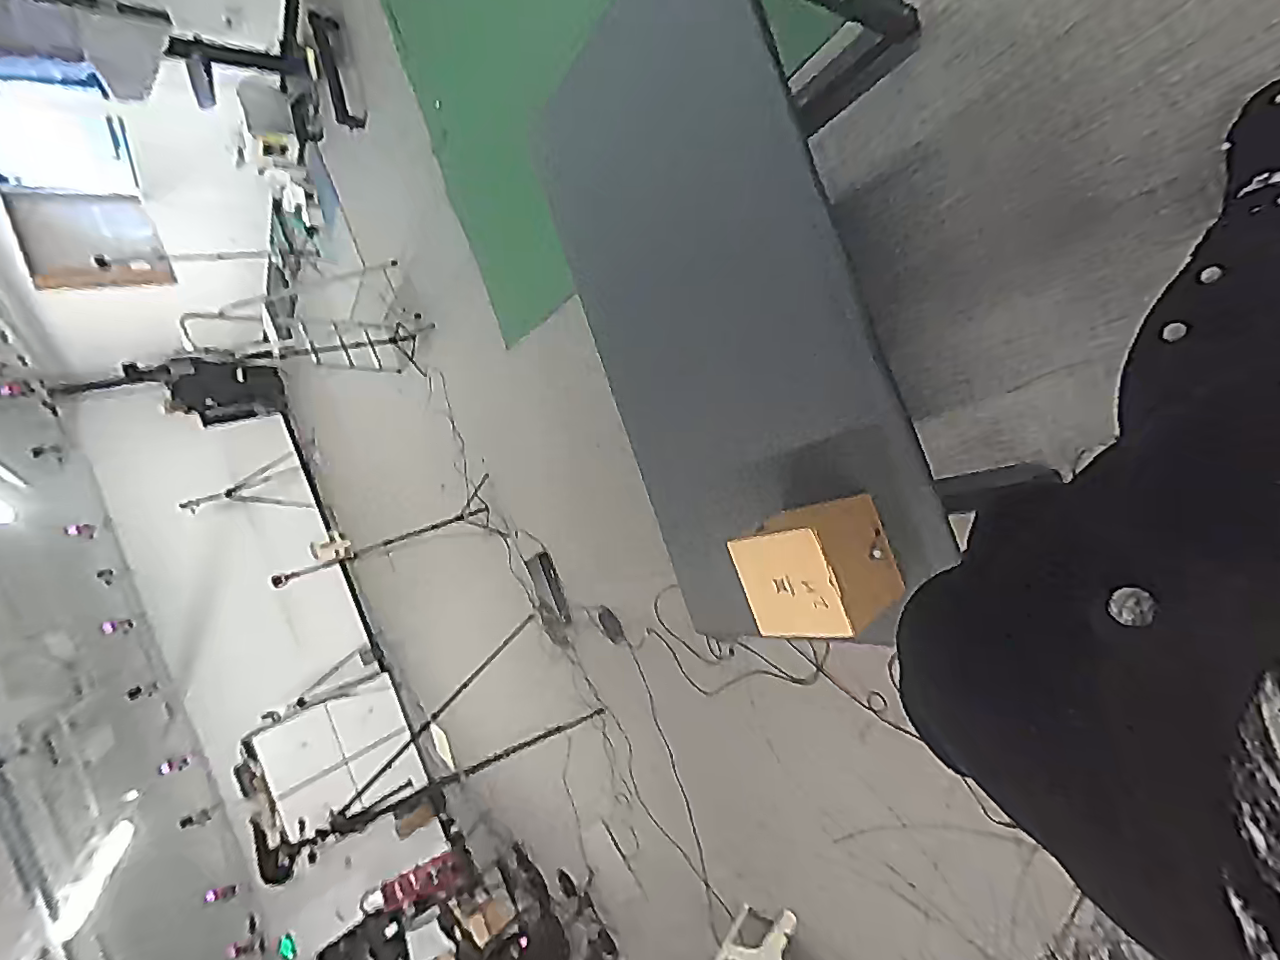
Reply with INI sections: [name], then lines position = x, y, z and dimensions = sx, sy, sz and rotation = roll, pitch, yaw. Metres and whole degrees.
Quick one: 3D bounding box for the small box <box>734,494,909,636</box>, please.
[small box]
position = 0.289, 0.135, 0.865
dimensions = 0.179, 0.176, 0.168
rotation = -22, 90, 52
